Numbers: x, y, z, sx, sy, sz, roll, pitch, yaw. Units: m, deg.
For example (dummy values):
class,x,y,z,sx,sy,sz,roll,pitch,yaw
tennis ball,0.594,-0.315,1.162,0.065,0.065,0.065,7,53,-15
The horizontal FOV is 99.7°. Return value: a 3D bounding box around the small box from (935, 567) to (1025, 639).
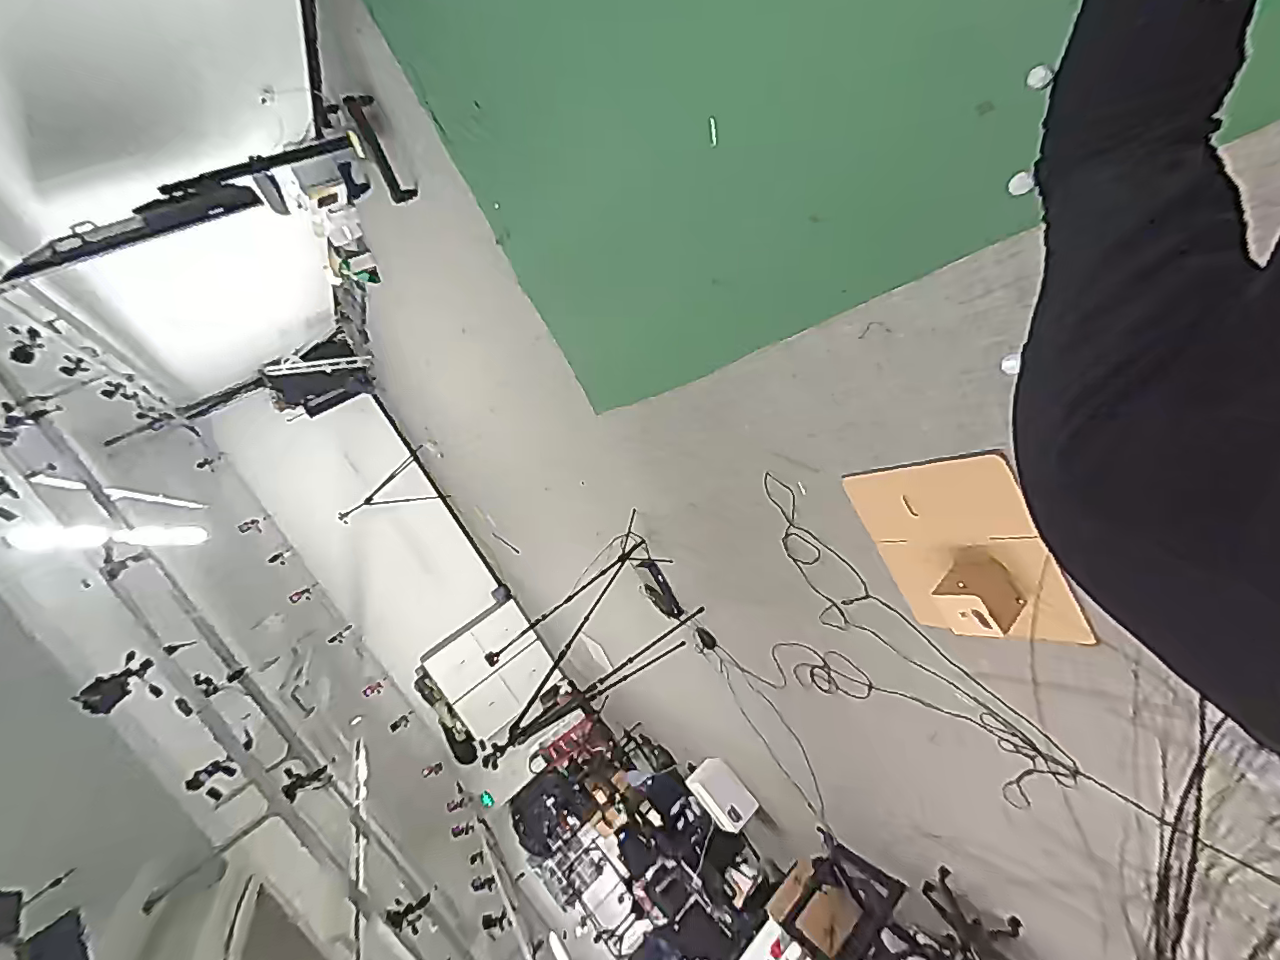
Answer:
class,x,y,z,sx,sy,sz,roll,pitch,yaw
small box,1.123,0.399,1.776,0.168,0.176,0.179,56,155,-4
